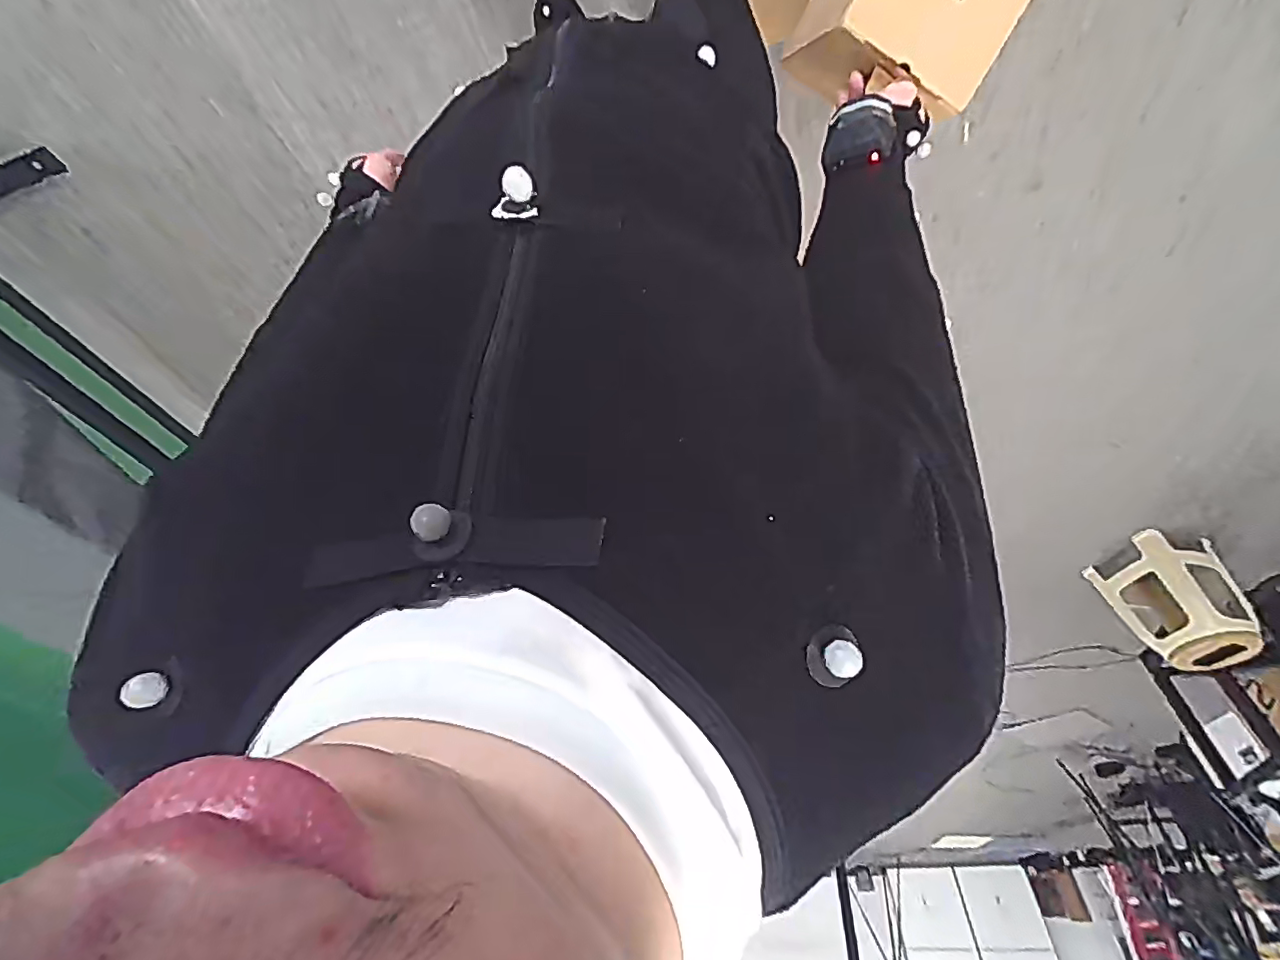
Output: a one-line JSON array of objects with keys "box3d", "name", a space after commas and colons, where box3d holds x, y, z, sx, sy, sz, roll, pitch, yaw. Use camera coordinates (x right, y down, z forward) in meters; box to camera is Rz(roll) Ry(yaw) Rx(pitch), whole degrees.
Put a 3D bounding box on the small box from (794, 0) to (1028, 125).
[{"box3d": [0.293, -0.525, 0.588, 0.168, 0.176, 0.179, 22, 110, -19], "name": "small box"}]
